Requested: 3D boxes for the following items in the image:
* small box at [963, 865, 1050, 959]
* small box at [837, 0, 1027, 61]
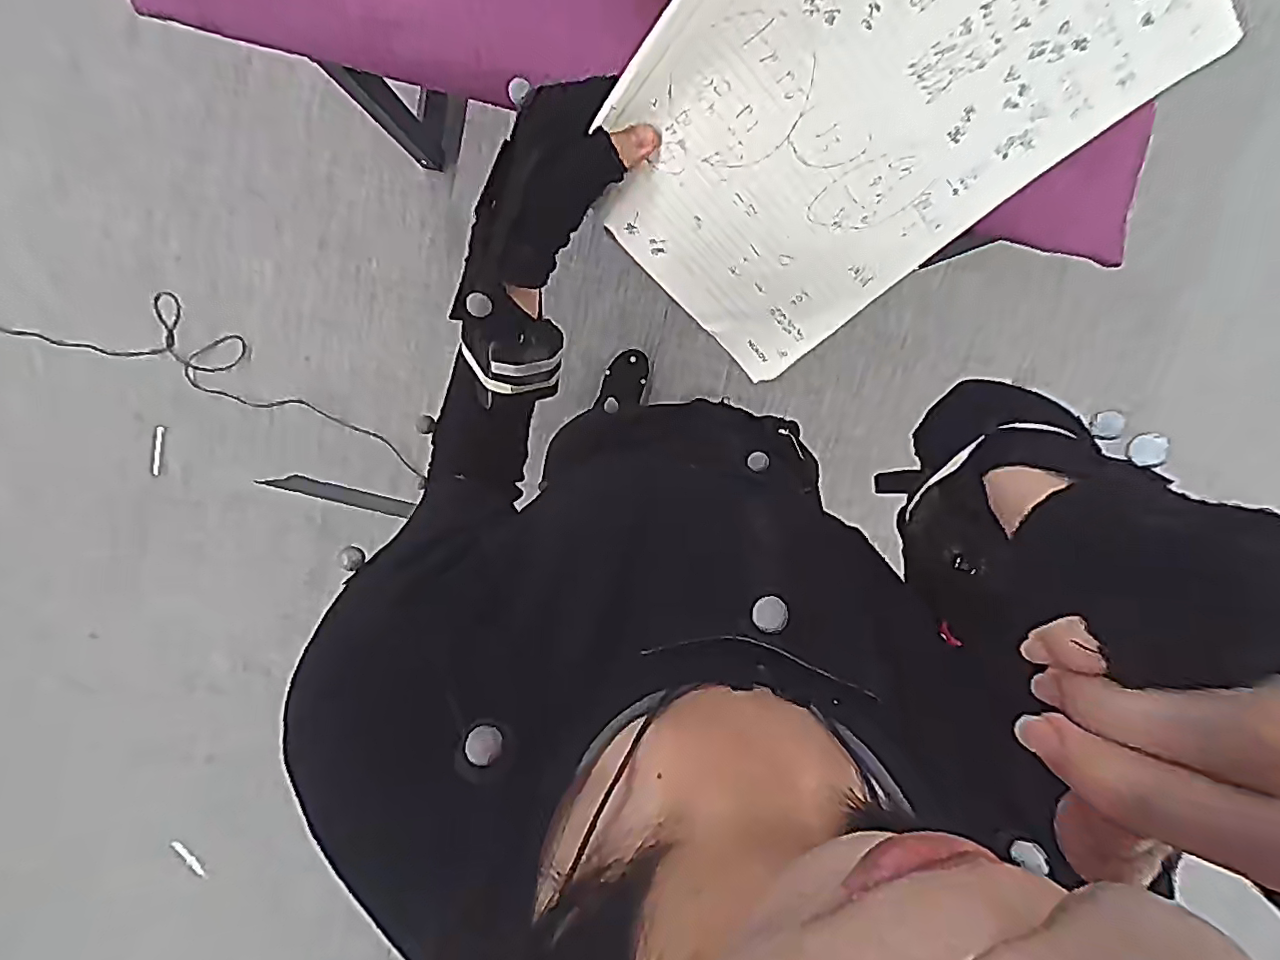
[{"bbox_3d":[1.140,1.356,1.692,0.168,0.176,0.179,-9,99,1],"label":"small box"},{"bbox_3d":[0.343,-0.597,0.576,0.179,0.176,0.168,16,98,-2],"label":"small box"}]
